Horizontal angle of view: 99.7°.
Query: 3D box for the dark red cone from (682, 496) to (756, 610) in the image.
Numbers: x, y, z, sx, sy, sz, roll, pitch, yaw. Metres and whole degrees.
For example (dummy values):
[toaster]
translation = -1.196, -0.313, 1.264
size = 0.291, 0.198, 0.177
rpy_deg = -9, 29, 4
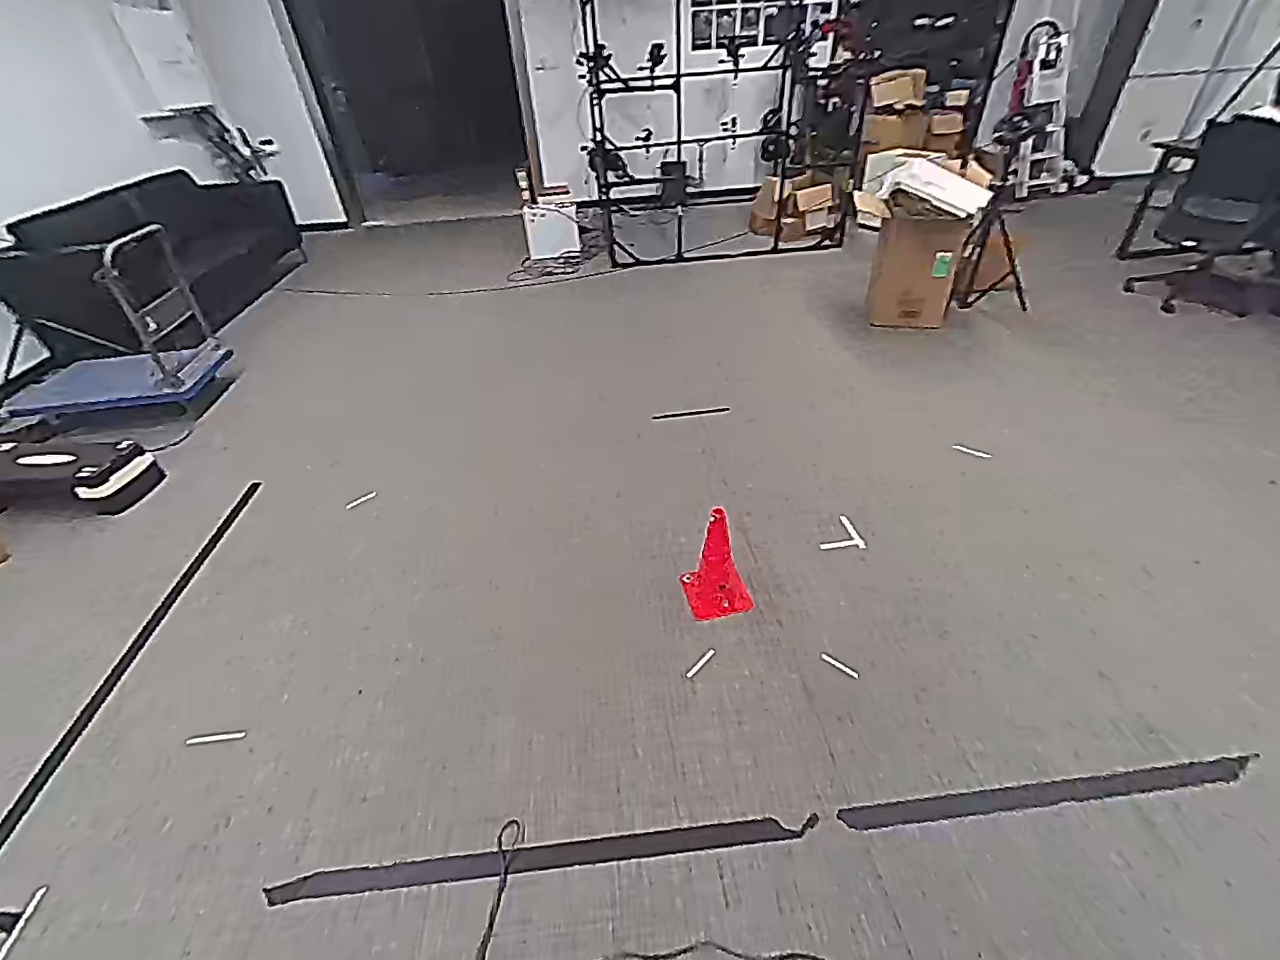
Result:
[dark red cone]
translation = 0.244, 0.206, 1.649
size = 0.202, 0.394, 0.201
rpy_deg = -11, 40, -8
